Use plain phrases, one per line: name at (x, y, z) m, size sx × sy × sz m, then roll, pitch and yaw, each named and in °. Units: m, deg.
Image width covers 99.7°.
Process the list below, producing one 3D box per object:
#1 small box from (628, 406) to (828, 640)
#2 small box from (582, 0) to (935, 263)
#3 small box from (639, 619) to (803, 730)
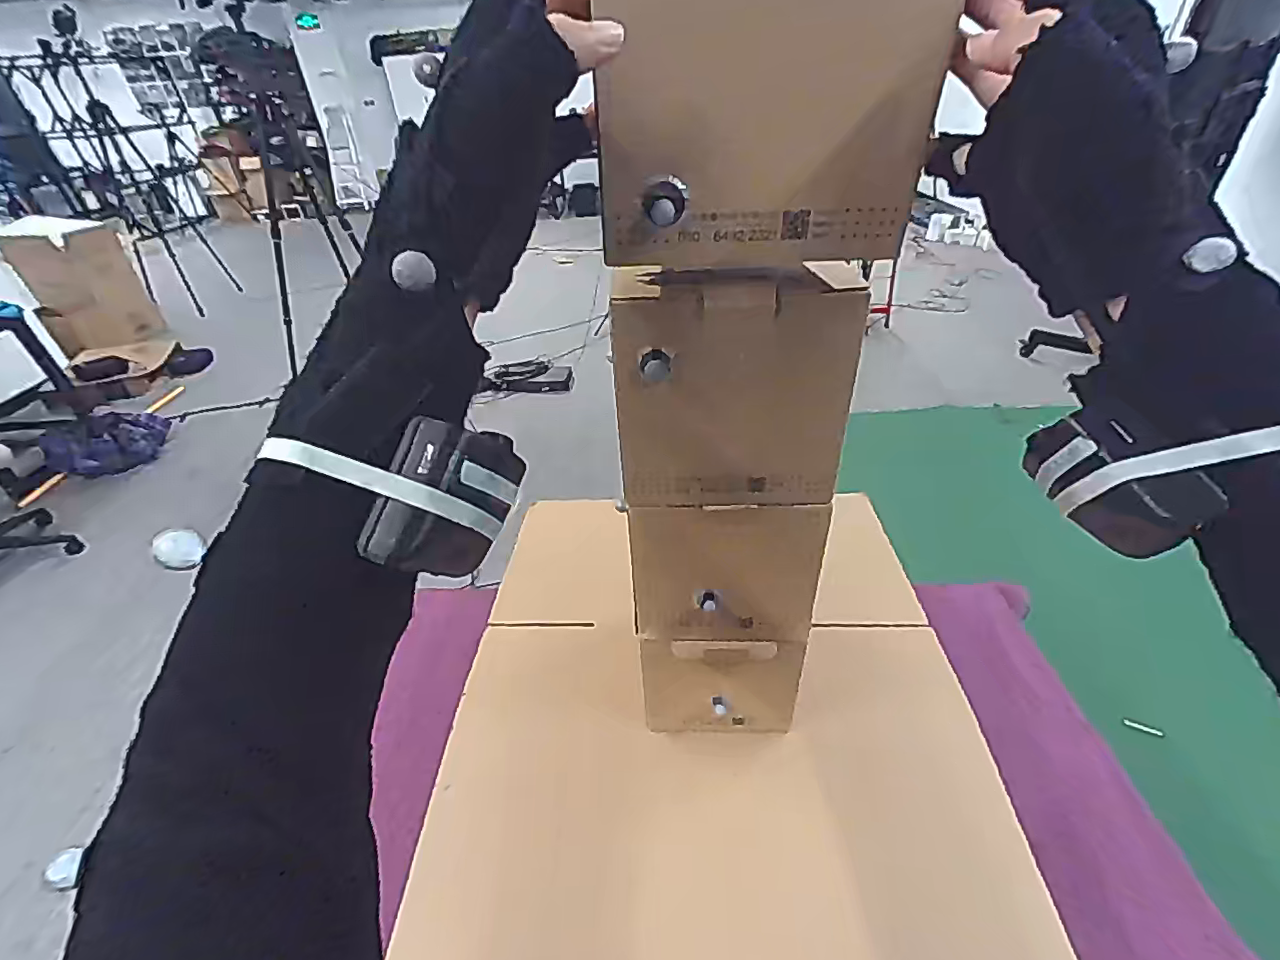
small box at (0.078, 0.038, 0.553) m, size 0.168 × 0.176 × 0.179 m, roll -1°, pitch 36°, yaw 4°
small box at (0.057, -0.237, 0.326) m, size 0.168 × 0.176 × 0.179 m, roll -1°, pitch 37°, yaw 1°
small box at (0.088, 0.170, 0.648) m, size 0.168 × 0.176 × 0.179 m, roll -1°, pitch 36°, yaw 4°
